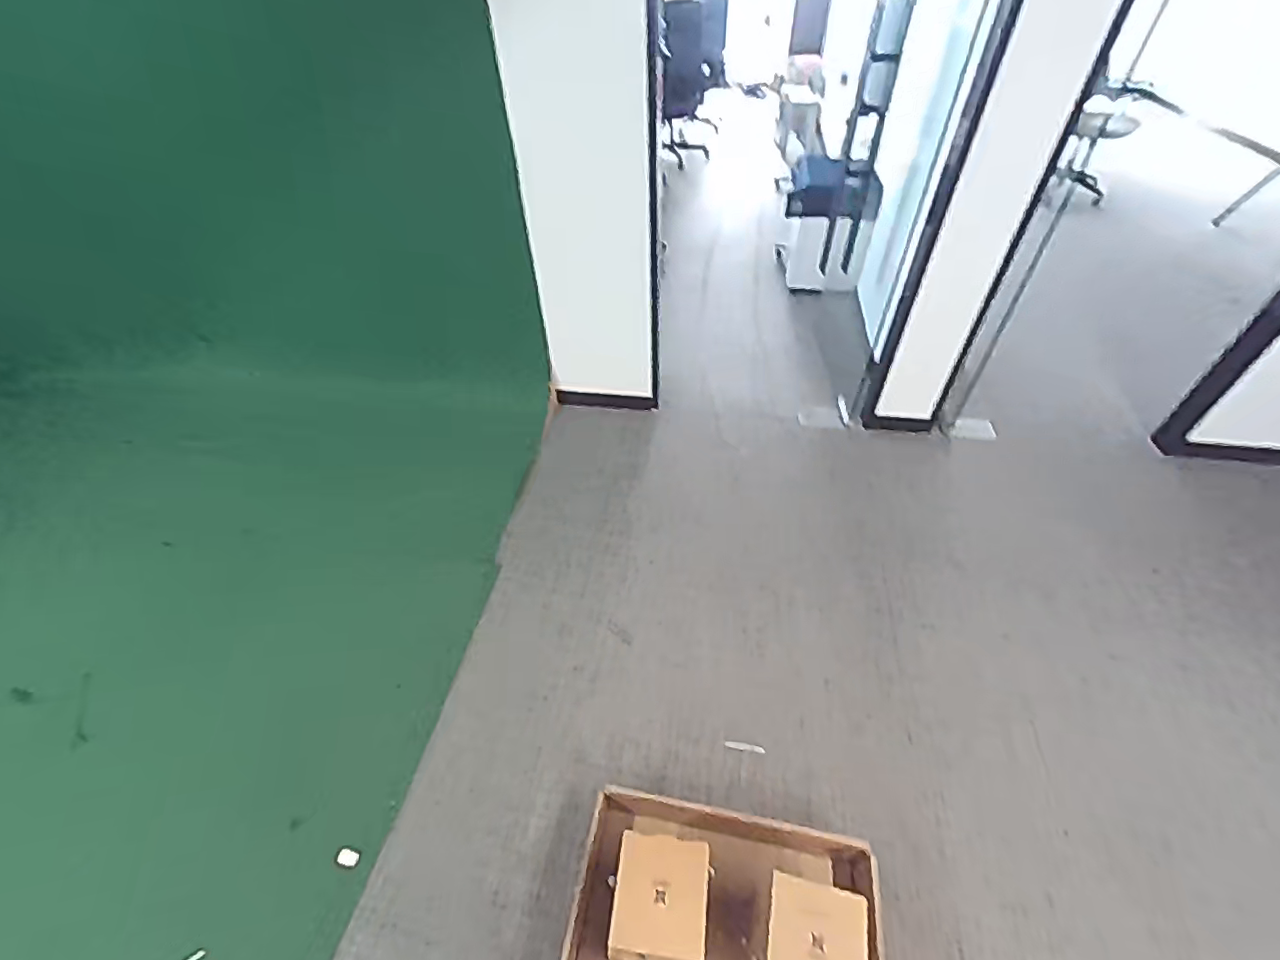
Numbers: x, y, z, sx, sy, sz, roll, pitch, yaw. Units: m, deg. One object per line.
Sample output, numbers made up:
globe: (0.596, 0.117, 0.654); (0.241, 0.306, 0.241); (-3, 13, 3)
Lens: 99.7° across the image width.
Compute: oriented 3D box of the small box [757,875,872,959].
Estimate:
small box: (0.307, 0.849, 0.968); (0.168, 0.176, 0.179); (11, 47, 12)

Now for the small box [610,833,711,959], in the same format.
small box: (0.043, 0.803, 1.026); (0.168, 0.176, 0.179); (5, 46, 7)
